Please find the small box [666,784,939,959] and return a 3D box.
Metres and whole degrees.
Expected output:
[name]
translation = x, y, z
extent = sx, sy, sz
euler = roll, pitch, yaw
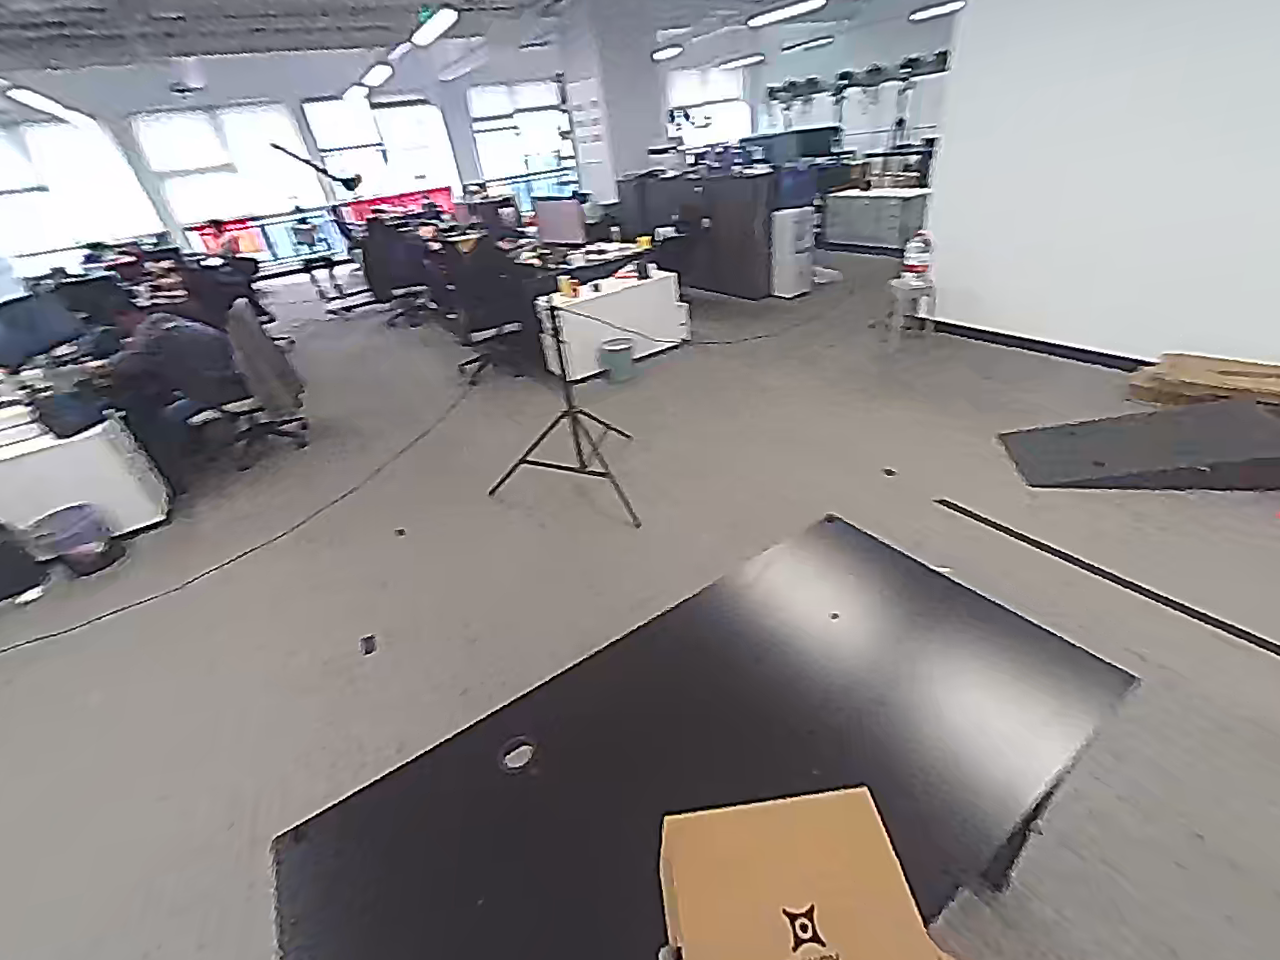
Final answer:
[small box]
translation = 0.112, 0.365, 0.415
extent = 0.168, 0.176, 0.179
euler = -6, 43, -4
